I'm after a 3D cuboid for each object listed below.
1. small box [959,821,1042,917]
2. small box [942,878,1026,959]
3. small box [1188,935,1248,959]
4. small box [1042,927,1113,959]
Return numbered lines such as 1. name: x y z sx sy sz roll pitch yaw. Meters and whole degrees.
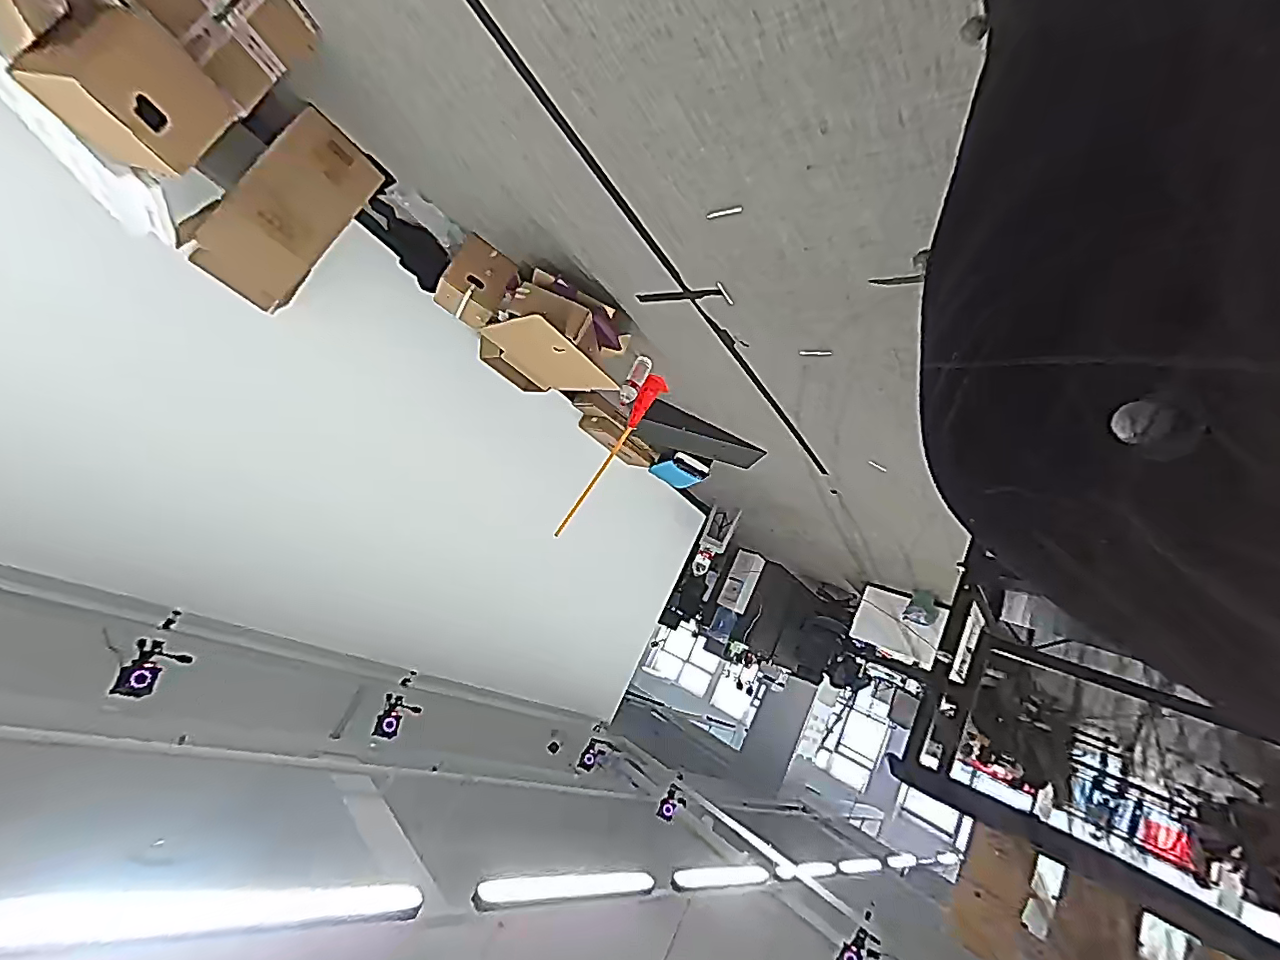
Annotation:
1. small box: 1.067 1.135 1.595 0.168 0.176 0.179 13 162 43
2. small box: 0.997 1.280 1.561 0.168 0.176 0.179 15 163 42
3. small box: 1.414 1.224 1.273 0.168 0.176 0.179 15 164 42
4. small box: 1.158 1.320 1.417 0.168 0.176 0.179 12 162 45
